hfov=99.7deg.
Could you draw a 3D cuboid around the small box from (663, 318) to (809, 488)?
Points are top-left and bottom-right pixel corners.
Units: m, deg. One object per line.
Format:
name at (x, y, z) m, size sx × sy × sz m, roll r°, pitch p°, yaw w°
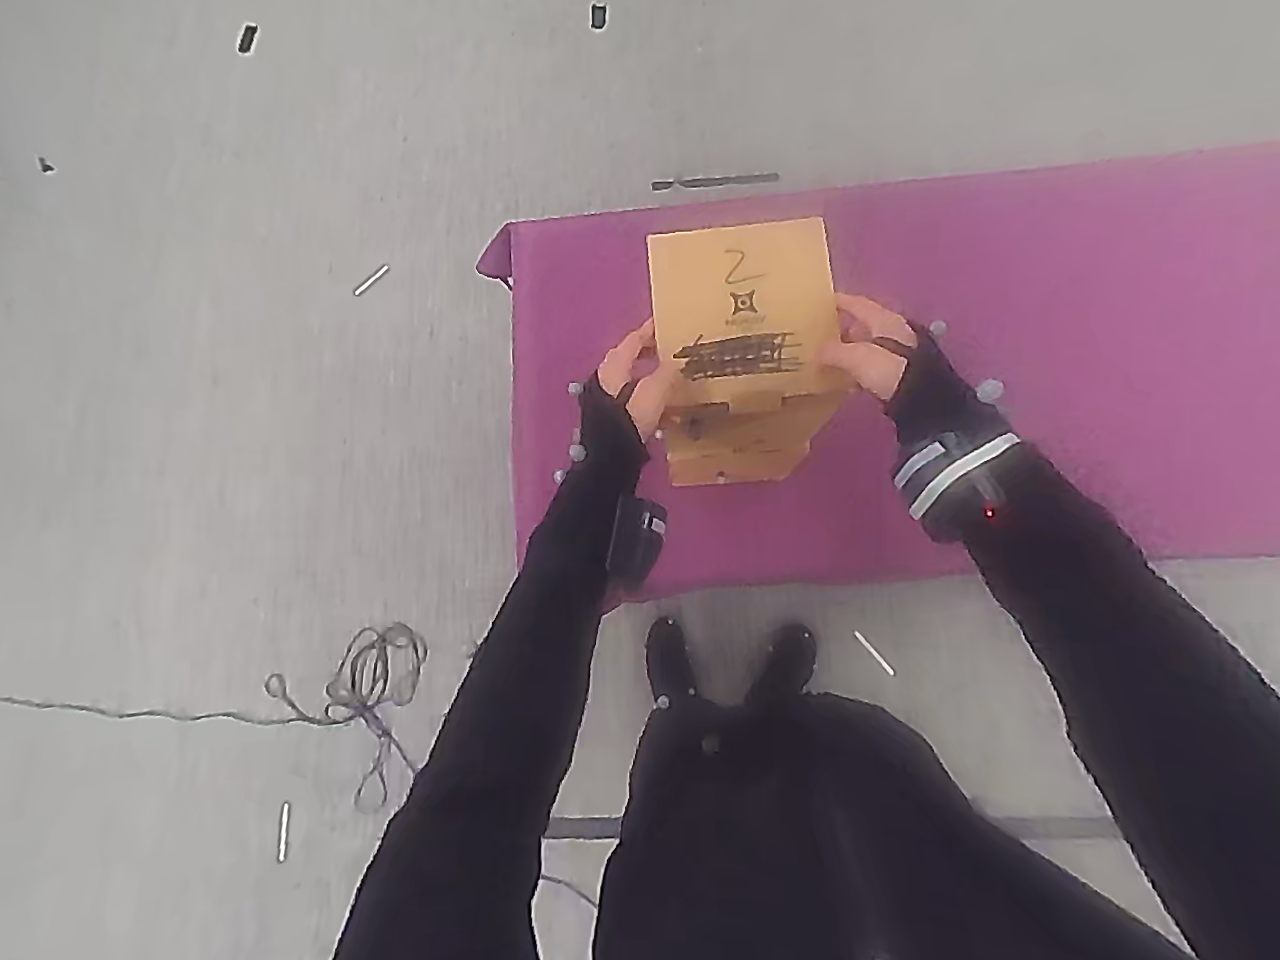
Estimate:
small box at (0.117, -0.093, 0.726) m, size 0.168 × 0.176 × 0.179 m, roll -4°, pitch 79°, yaw 4°
